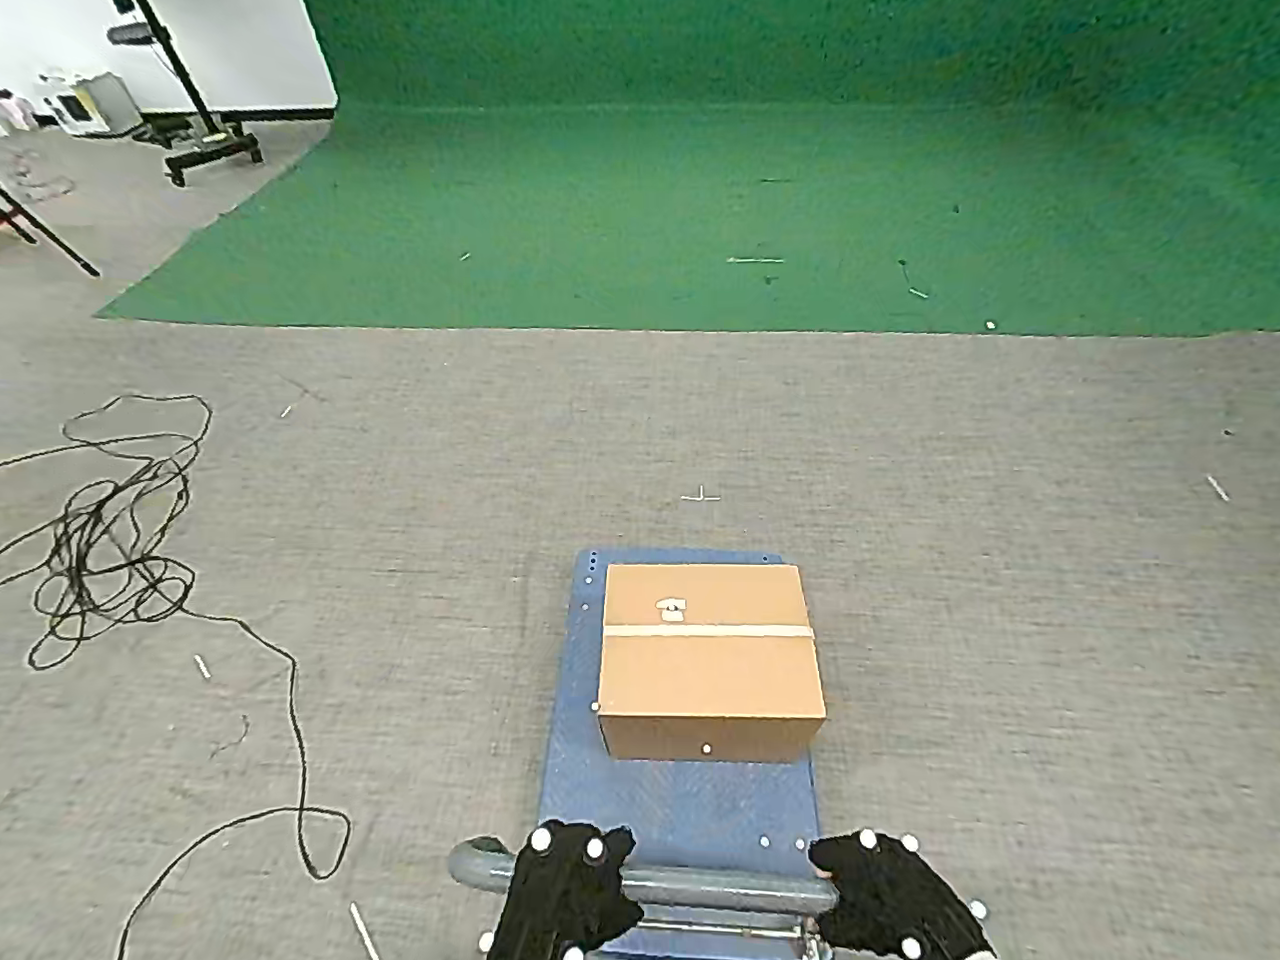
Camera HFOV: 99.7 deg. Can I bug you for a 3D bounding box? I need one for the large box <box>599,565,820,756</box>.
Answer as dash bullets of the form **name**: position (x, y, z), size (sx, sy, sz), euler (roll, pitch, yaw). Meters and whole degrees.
- **large box**: position (0.135, 0.399, 1.175), size (0.408, 0.320, 0.320), euler (-1, 49, 4)
